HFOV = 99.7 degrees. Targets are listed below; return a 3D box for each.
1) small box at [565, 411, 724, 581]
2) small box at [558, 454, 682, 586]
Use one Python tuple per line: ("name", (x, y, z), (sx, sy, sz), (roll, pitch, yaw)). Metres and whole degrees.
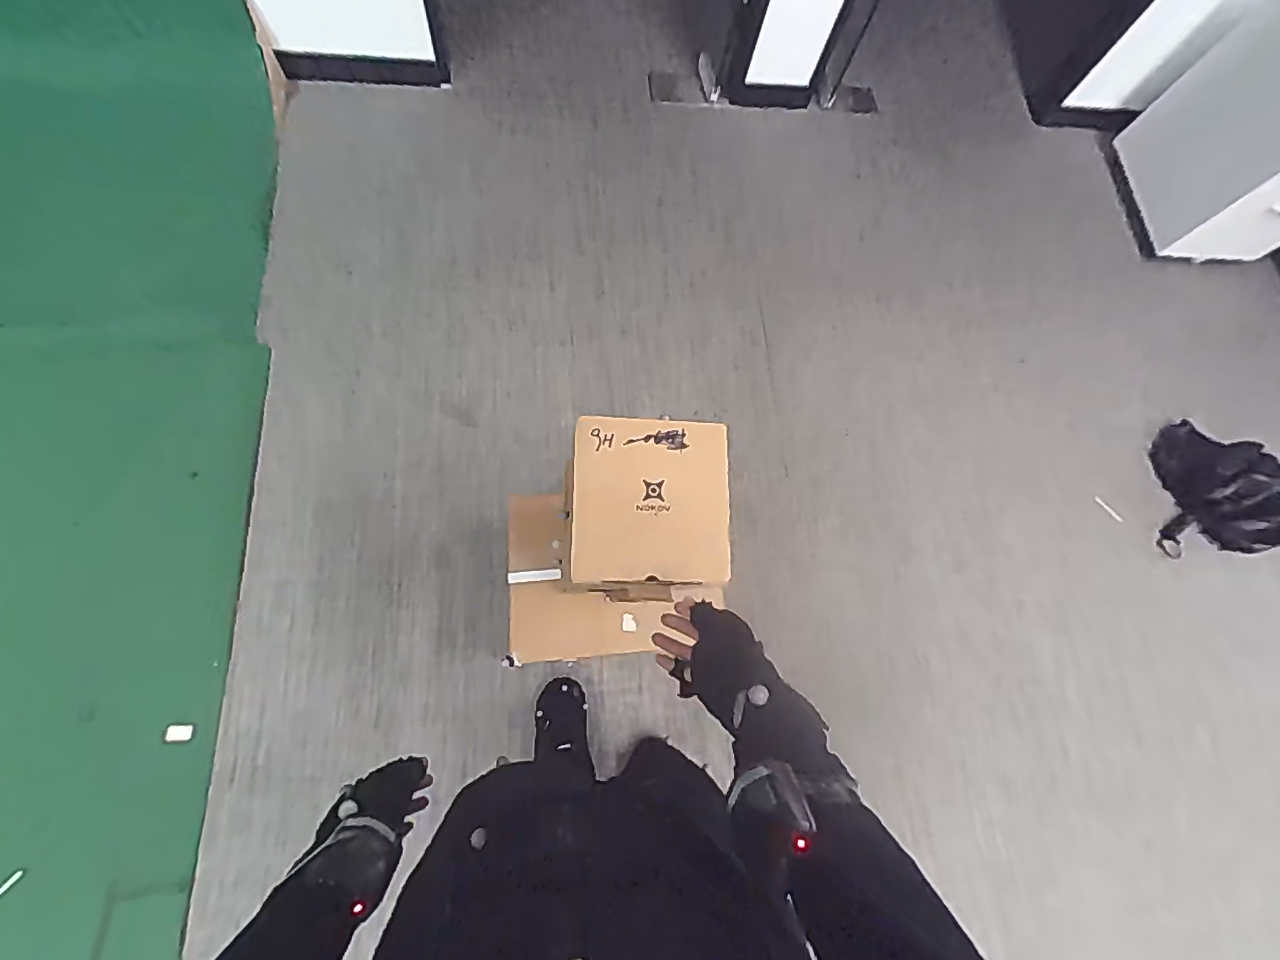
("small box", (-0.003, 0.030, 0.645), (0.168, 0.176, 0.179), (3, 79, -9))
("small box", (-0.035, 0.068, 0.801), (0.168, 0.176, 0.179), (0, 77, -10))
